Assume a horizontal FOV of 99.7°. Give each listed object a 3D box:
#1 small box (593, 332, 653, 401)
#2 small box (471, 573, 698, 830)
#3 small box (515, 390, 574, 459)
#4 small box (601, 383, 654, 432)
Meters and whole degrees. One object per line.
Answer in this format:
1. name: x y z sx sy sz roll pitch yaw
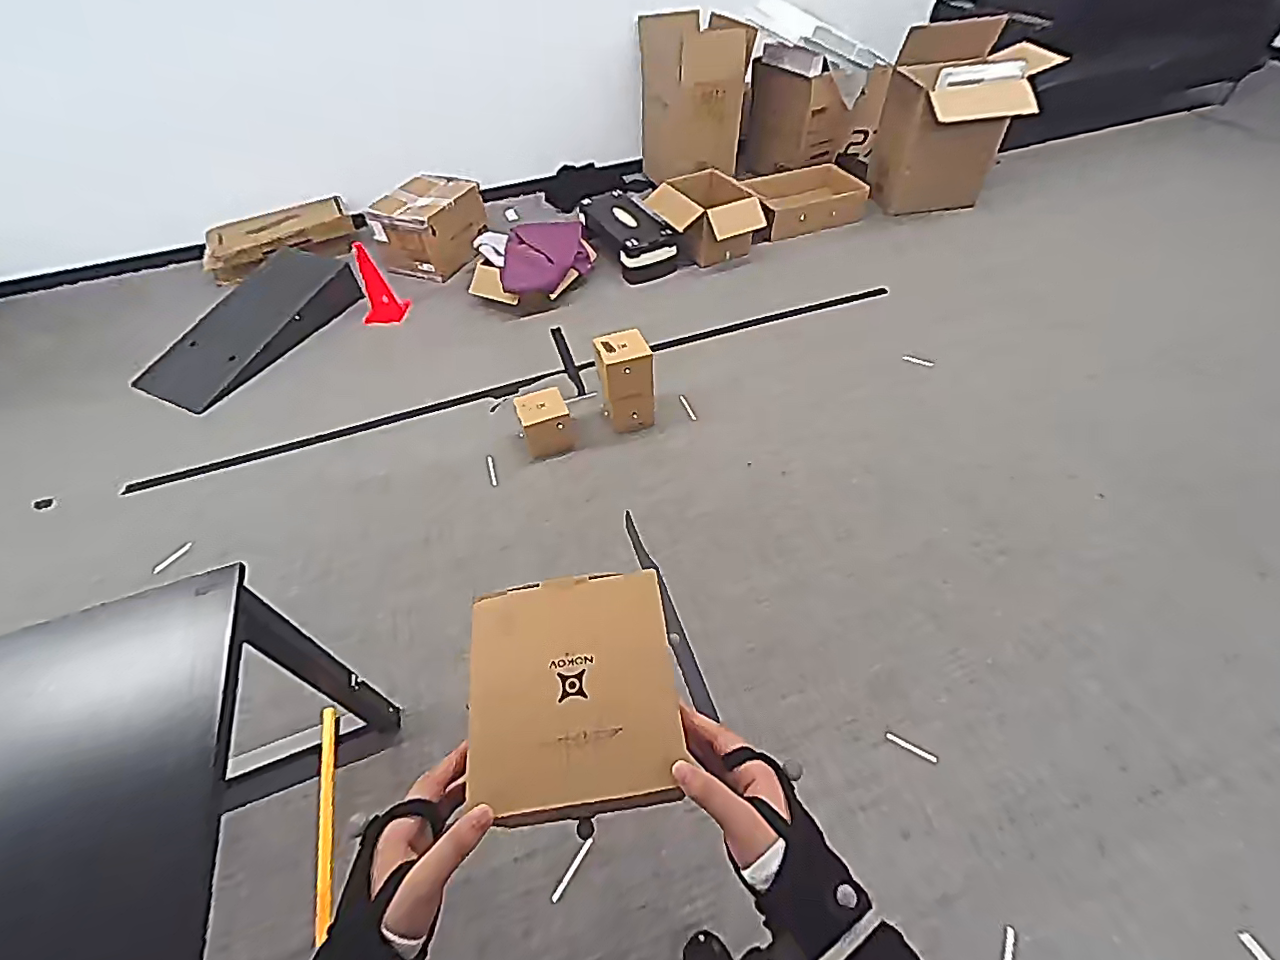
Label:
1. small box: -0.059 -0.410 1.974 0.179 0.176 0.168 -16 51 -11
2. small box: -0.047 0.207 0.498 0.168 0.176 0.179 -8 57 -3
3. small box: -0.354 -0.208 2.036 0.179 0.176 0.168 -19 51 -12
4. small box: -0.047 -0.304 2.101 0.168 0.176 0.179 -15 52 -9
